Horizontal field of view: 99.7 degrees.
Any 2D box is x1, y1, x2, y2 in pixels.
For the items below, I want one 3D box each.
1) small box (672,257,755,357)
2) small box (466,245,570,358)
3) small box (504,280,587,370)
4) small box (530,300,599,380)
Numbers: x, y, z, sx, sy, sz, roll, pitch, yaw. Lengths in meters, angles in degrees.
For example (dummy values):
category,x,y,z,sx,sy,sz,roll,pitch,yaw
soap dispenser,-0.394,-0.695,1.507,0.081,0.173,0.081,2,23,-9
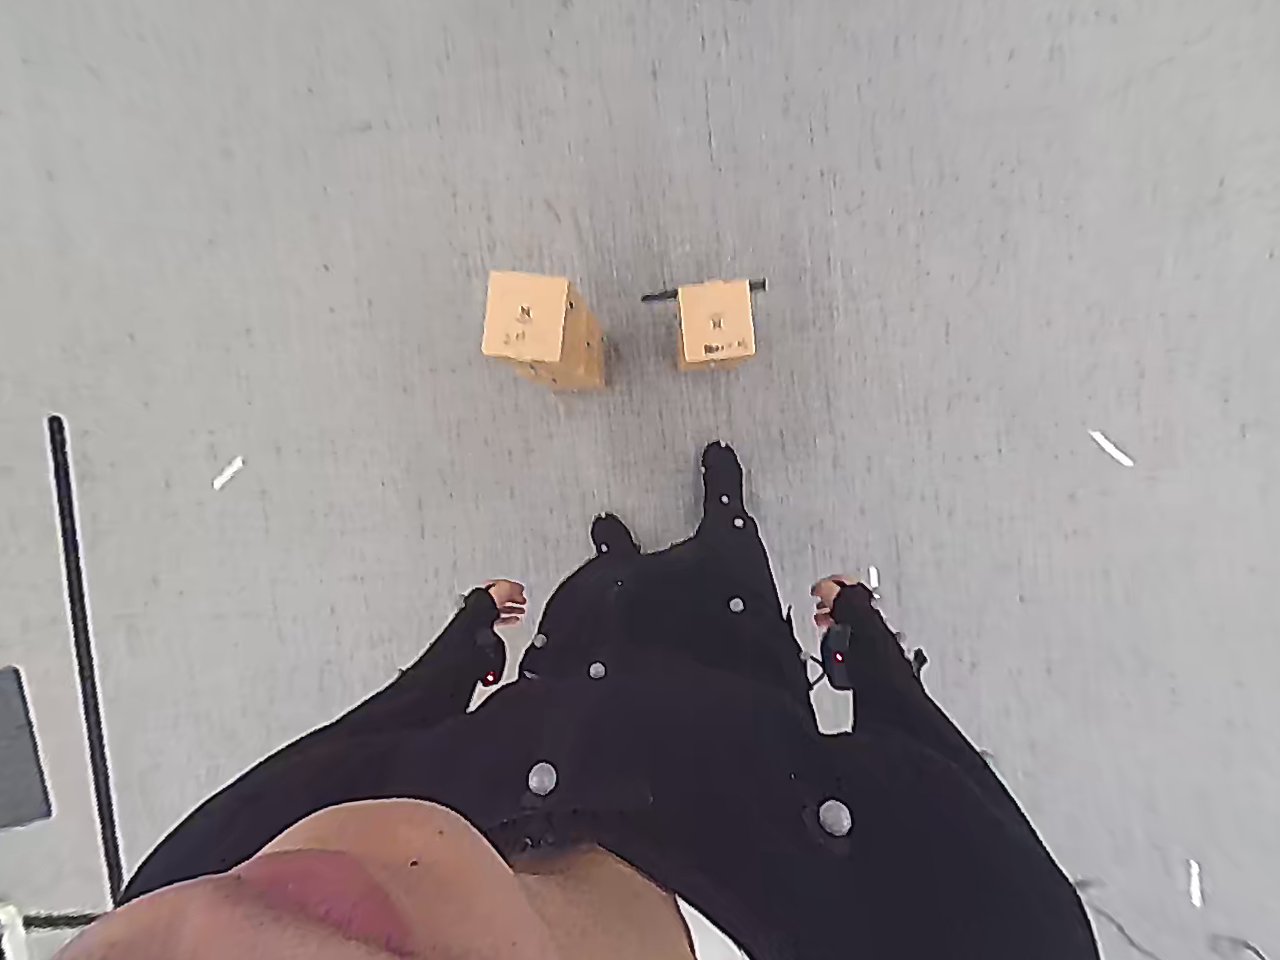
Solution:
category,x,y,z,sx,sy,sz,roll,pitch,yaw
small box,0.165,-0.397,1.264,0.168,0.176,0.179,-6,93,2
small box,-0.243,-0.360,1.117,0.168,0.176,0.179,7,94,2
small box,-0.219,-0.362,1.281,0.168,0.176,0.179,1,94,3
small box,-0.202,-0.369,1.442,0.168,0.176,0.179,-2,93,3
